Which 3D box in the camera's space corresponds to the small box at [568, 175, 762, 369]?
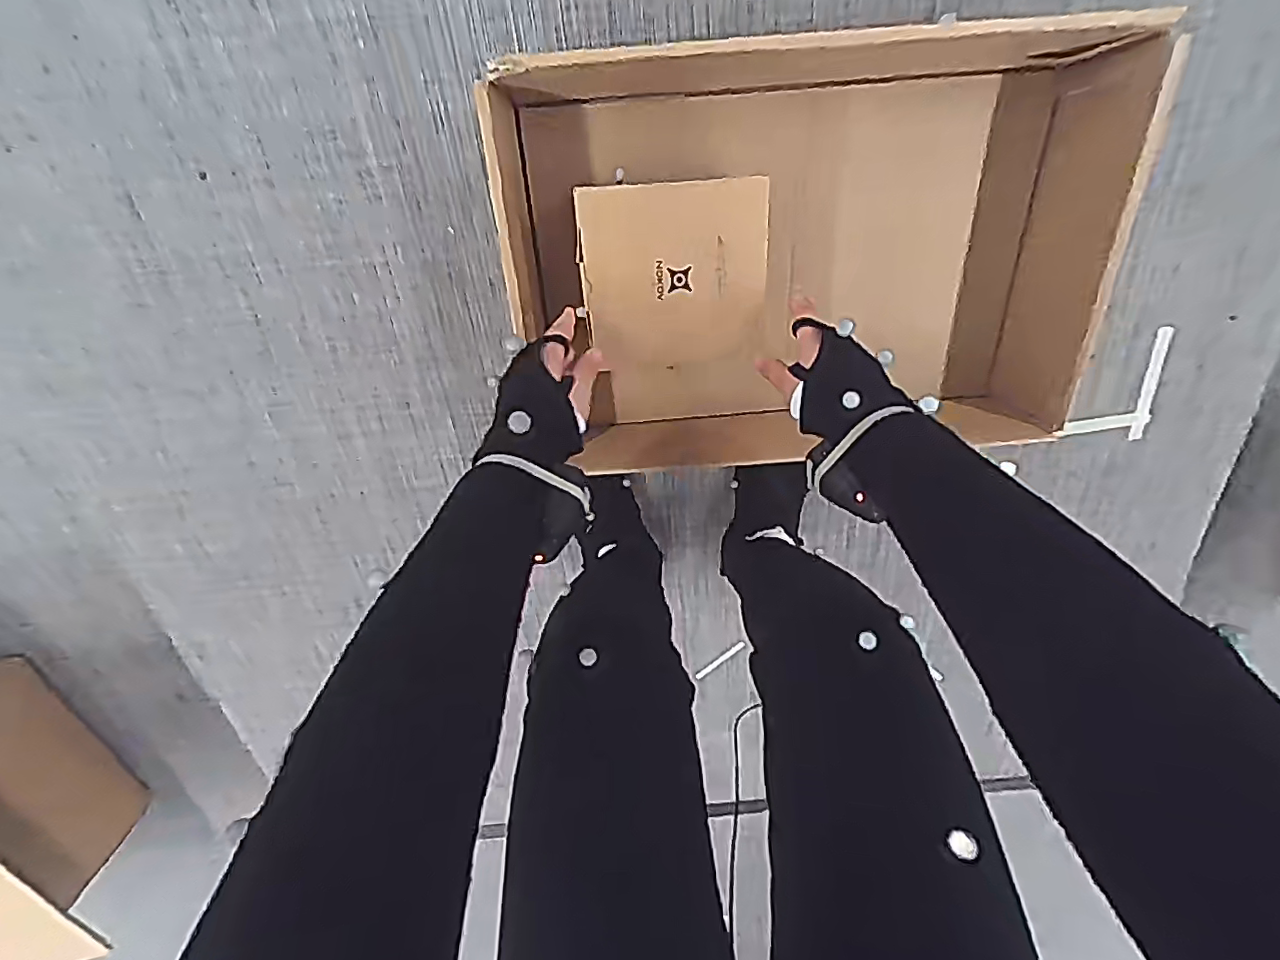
[{"bbox_3d":[0.023,-0.228,0.587,0.179,0.176,0.168,-6,118,-1],"label":"small box"}]
